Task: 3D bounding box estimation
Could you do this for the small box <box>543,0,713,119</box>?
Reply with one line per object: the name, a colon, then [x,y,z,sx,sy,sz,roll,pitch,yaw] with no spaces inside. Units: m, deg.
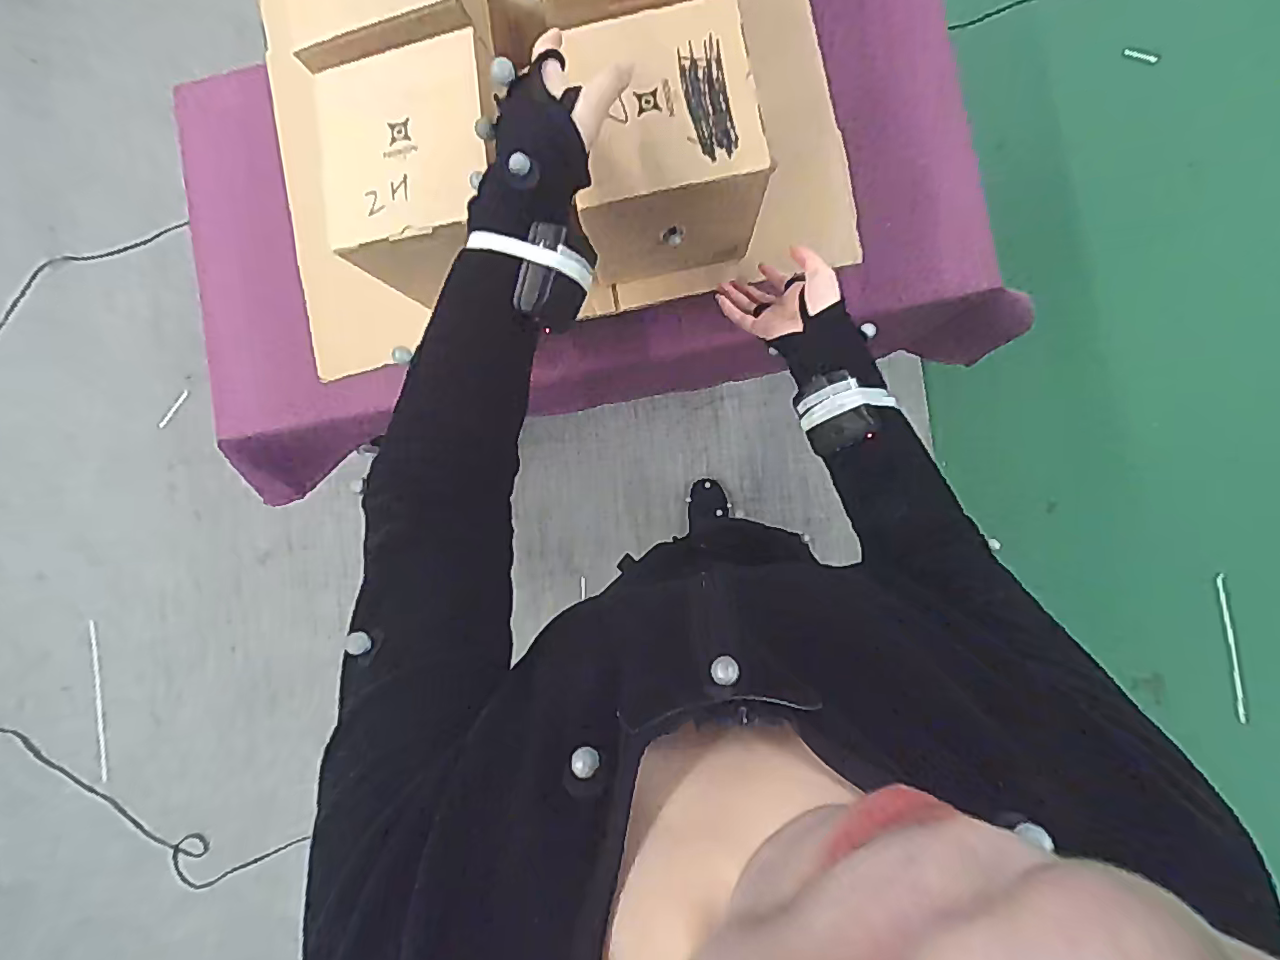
small box: [-0.020,-0.532,0.573,0.168,0.176,0.179,-9,88,3]
